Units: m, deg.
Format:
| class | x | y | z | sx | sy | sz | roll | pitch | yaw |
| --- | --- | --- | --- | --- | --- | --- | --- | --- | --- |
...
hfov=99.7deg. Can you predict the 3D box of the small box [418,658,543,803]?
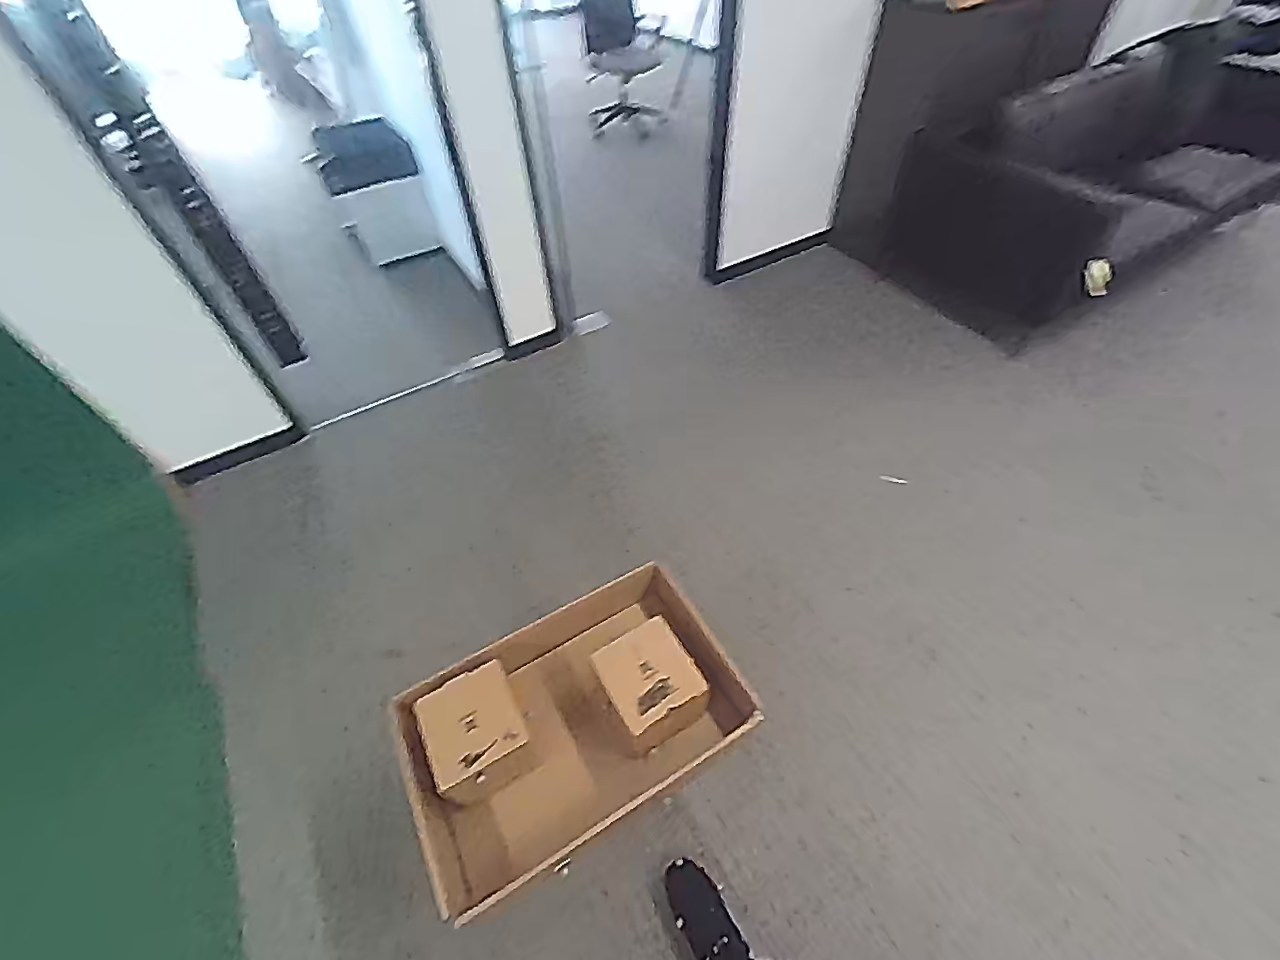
| class | x | y | z | sx | sy | sz | roll | pitch | yaw |
| --- | --- | --- | --- | --- | --- | --- | --- | --- | --- |
| small box | -0.301 | 0.482 | 1.038 | 0.168 | 0.176 | 0.179 | -23 | 53 | -16 |
